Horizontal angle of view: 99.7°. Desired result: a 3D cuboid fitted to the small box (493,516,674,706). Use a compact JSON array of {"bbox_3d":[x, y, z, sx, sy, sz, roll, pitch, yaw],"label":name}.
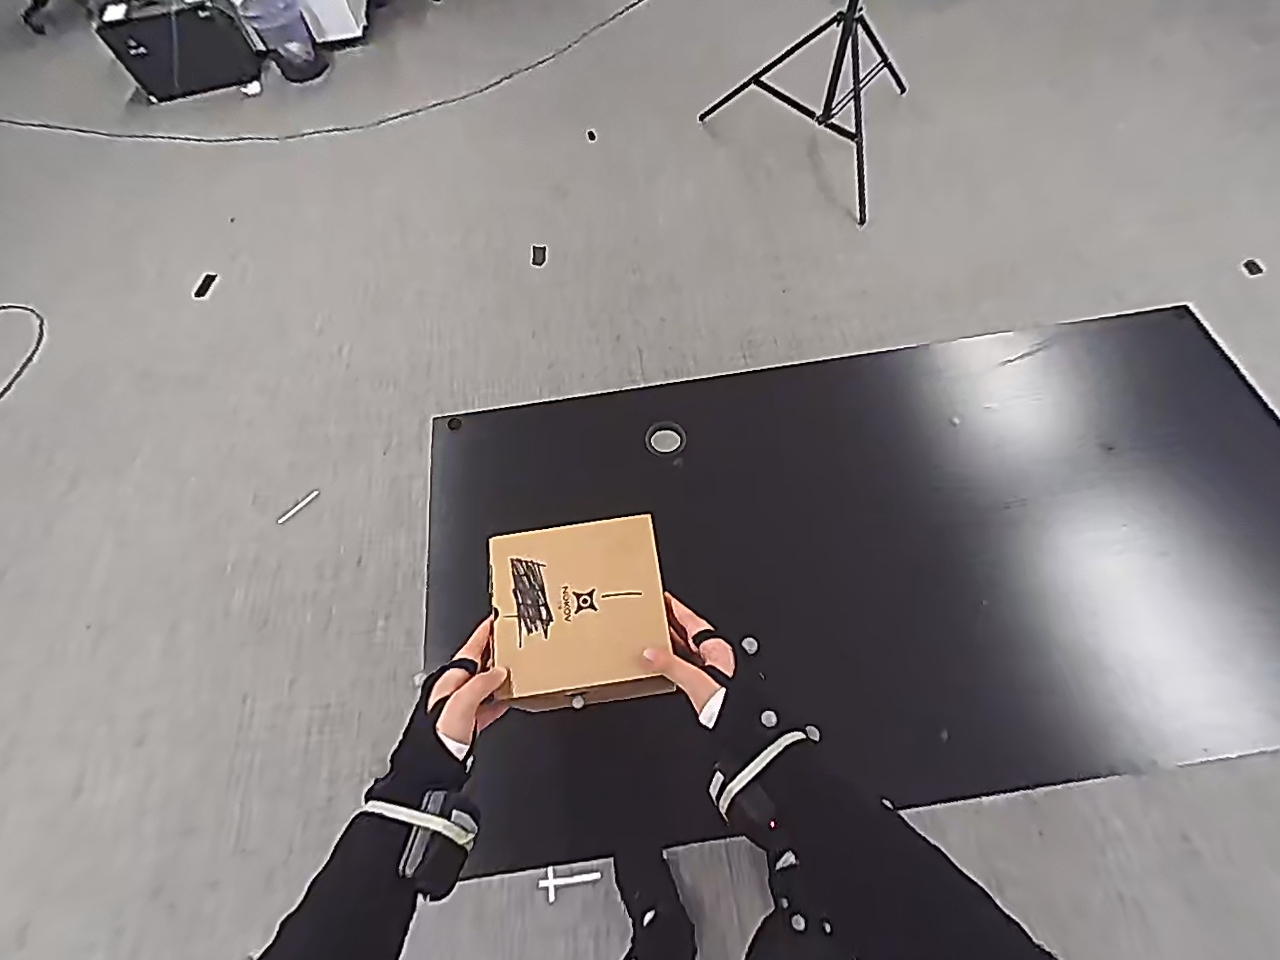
[{"bbox_3d":[-0.058,0.157,0.618,0.179,0.176,0.168,-8,64,-1],"label":"small box"}]
